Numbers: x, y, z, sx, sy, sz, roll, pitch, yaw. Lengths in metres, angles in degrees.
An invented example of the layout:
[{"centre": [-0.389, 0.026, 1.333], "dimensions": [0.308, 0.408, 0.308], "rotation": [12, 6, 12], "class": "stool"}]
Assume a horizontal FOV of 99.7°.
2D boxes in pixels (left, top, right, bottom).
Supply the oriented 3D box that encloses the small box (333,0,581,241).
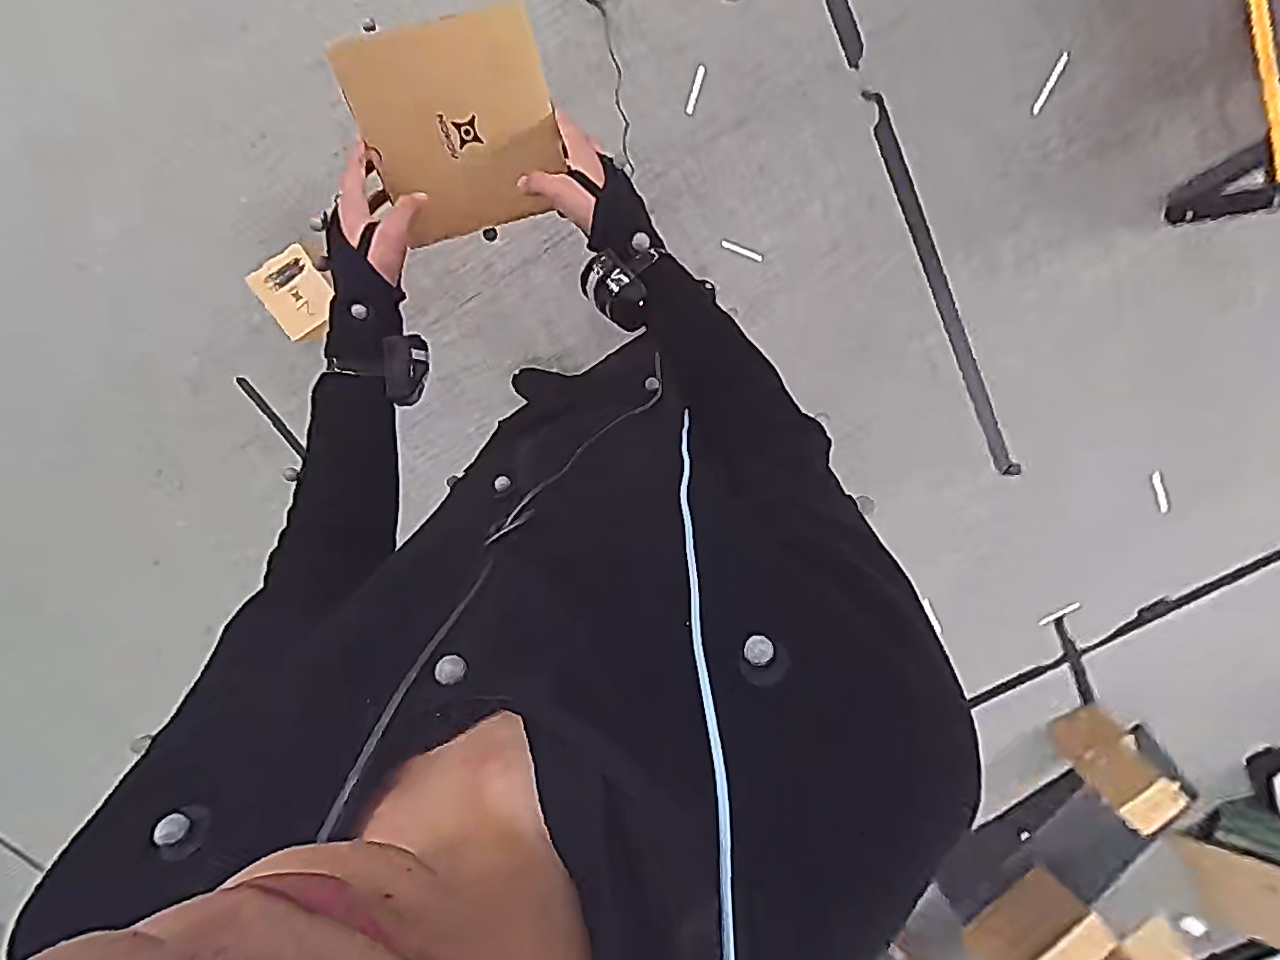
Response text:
[{"centre": [-0.174, -0.368, 0.558], "dimensions": [0.179, 0.176, 0.168], "rotation": [-16, 126, -3], "class": "small box"}]
